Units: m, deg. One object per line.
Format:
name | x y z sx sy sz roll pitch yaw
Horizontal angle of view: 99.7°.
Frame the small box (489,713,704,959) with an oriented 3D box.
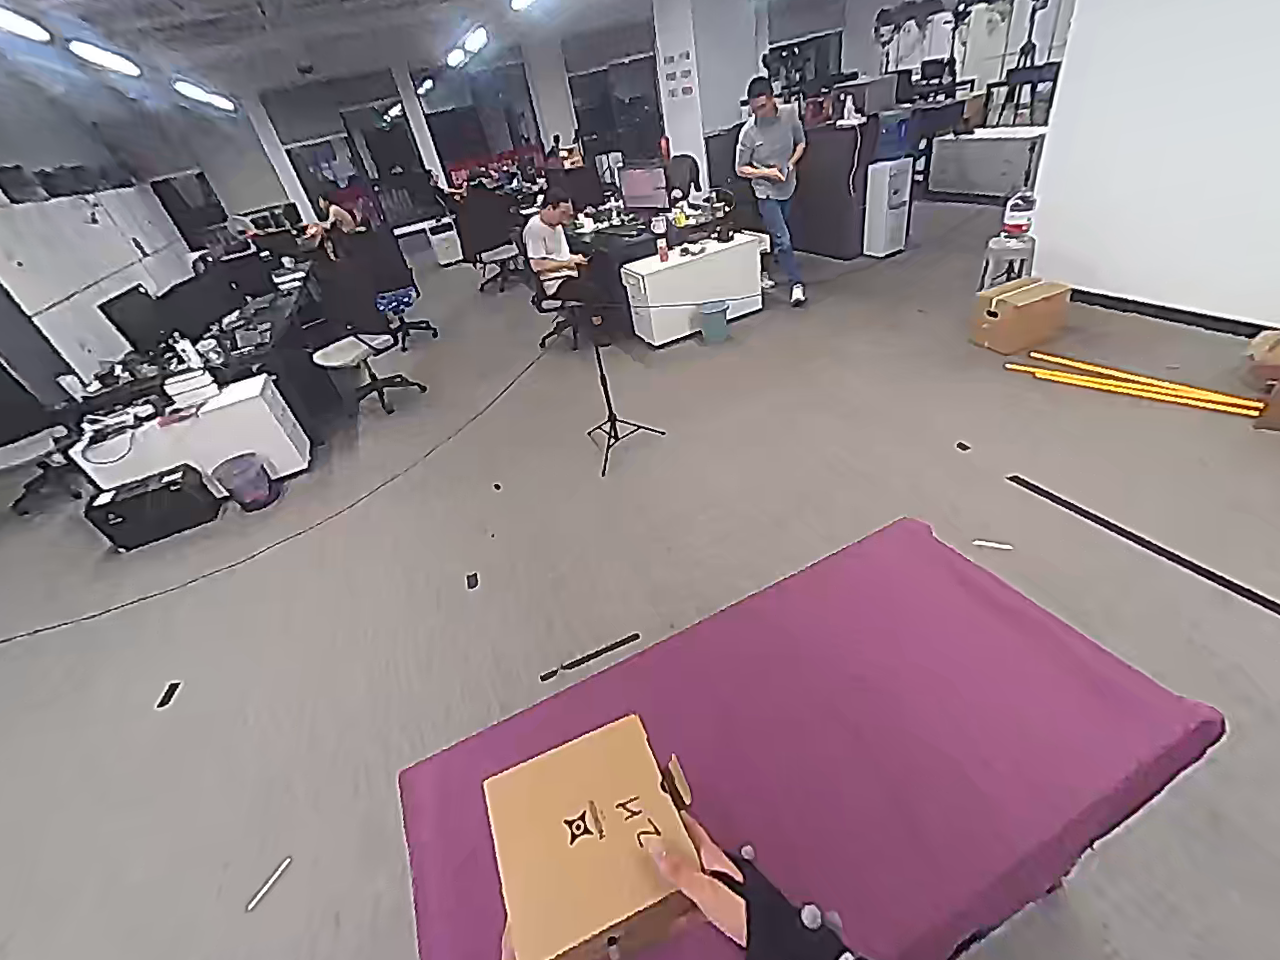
small box | -0.042 0.393 0.578 0.179 0.176 0.168 -18 43 -15
